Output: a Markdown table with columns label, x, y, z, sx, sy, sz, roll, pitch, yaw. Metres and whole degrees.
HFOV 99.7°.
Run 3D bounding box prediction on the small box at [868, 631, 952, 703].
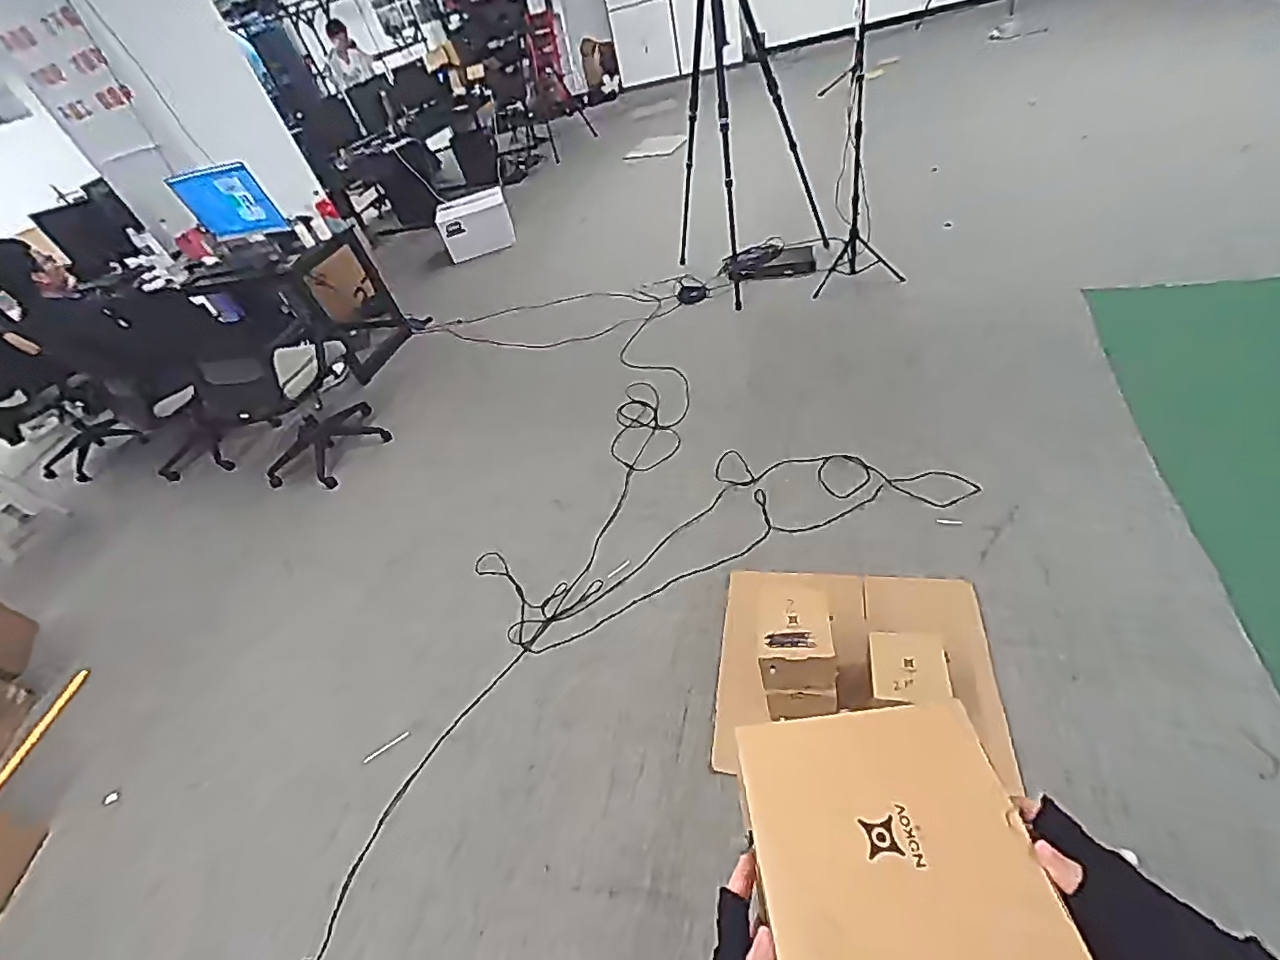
| label | x | y | z | sx | sy | sz | roll | pitch | yaw |
| --- | --- | --- | --- | --- | --- | --- | --- | --- | --- |
| small box | 0.656 | 0.496 | 1.330 | 0.168 | 0.176 | 0.179 | -2 | 46 | 19 |

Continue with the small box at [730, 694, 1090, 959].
| label | x | y | z | sx | sy | sz | roll | pitch | yaw |
| --- | --- | --- | --- | --- | --- | --- | --- | --- | --- |
| small box | 0.170 | 0.287 | 0.409 | 0.179 | 0.176 | 0.168 | -8 | 43 | 2 |

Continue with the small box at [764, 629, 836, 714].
| label | x | y | z | sx | sy | sz | roll | pitch | yaw |
| --- | --- | --- | --- | --- | --- | --- | --- | --- | --- |
| small box | 0.415 | 0.506 | 1.400 | 0.168 | 0.176 | 0.179 | -4 | 45 | 15 |
